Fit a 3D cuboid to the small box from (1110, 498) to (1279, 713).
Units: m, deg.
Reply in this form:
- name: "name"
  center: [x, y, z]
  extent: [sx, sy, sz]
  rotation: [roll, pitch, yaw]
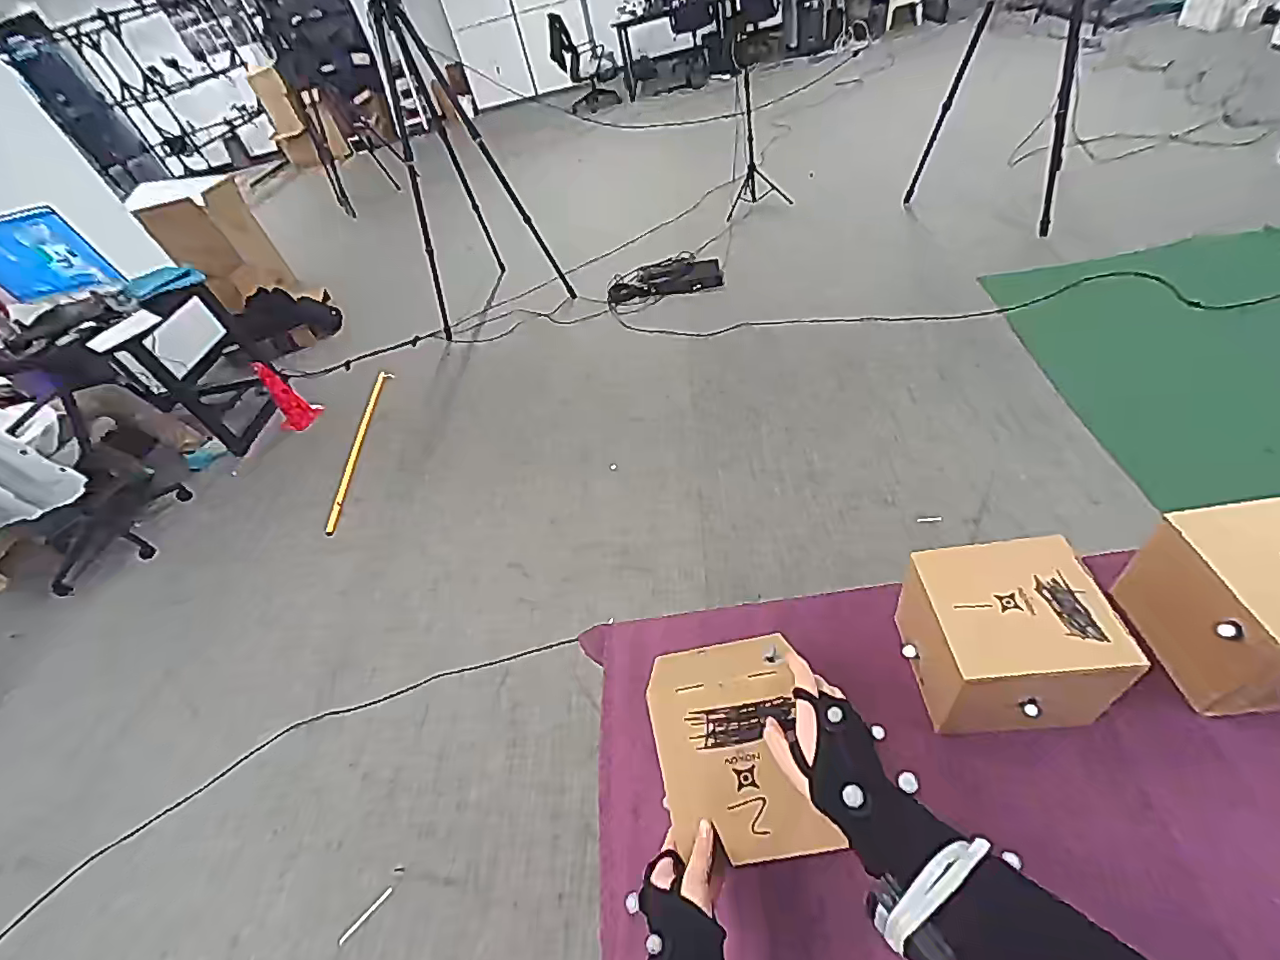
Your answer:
- name: "small box"
  center: [0.706, 0.144, 0.624]
  extent: [0.168, 0.176, 0.179]
  rotation: [-10, 46, 8]

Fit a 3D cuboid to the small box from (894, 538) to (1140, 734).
- name: "small box"
  center: [0.431, 0.194, 0.659]
  extent: [0.179, 0.176, 0.168]
  rotation: [-9, 45, 10]
